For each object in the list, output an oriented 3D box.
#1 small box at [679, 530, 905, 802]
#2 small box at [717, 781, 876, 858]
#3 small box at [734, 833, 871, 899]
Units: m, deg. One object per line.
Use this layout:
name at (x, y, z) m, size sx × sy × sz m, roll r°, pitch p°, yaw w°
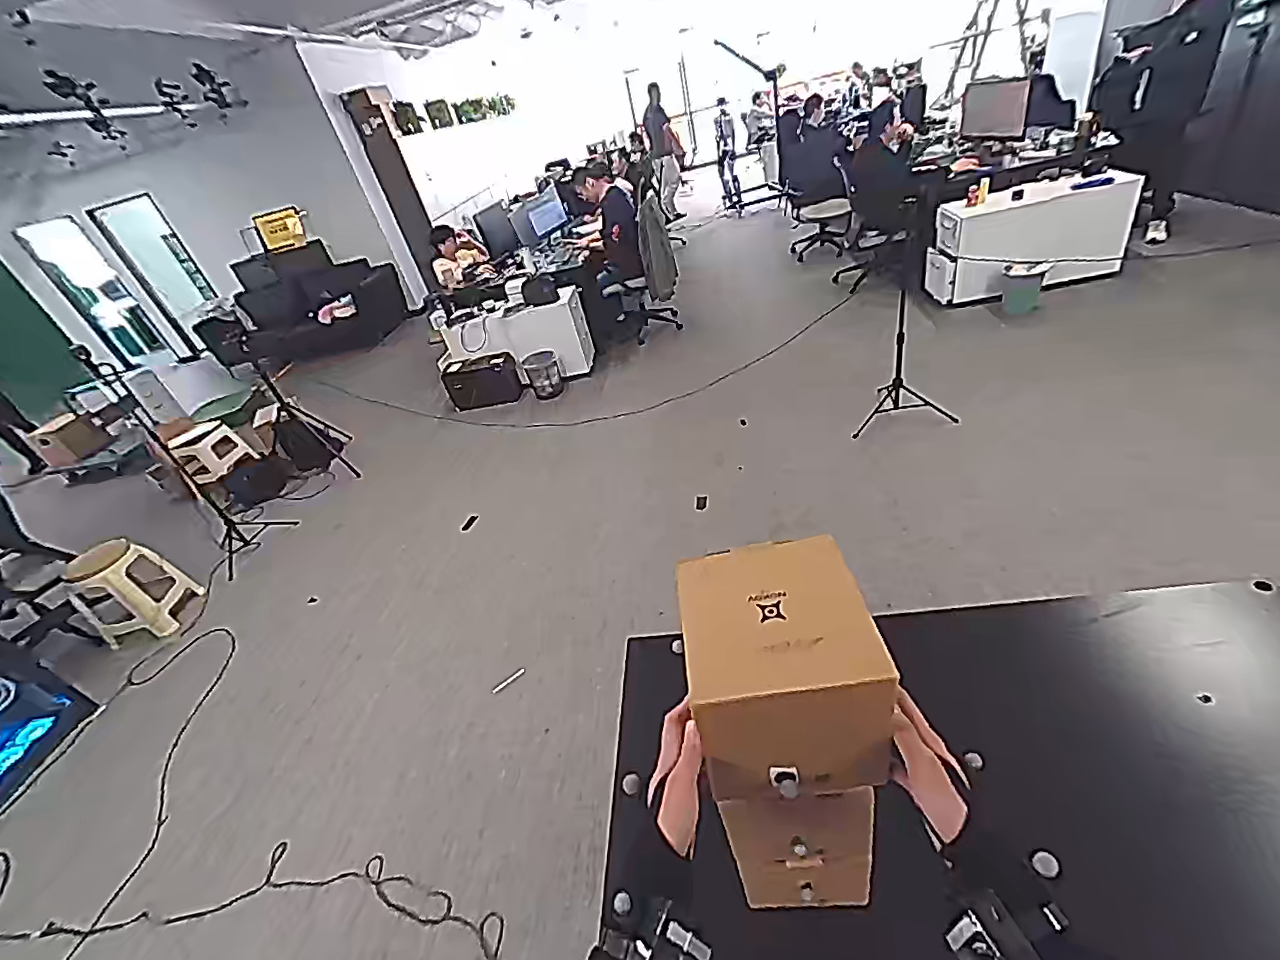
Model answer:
small box at (0.136, 0.178, 0.529) m, size 0.168 × 0.176 × 0.179 m, roll -11°, pitch 34°, yaw 5°
small box at (0.186, 0.343, 0.681) m, size 0.168 × 0.176 × 0.179 m, roll -9°, pitch 35°, yaw 10°
small box at (0.222, 0.475, 0.774) m, size 0.168 × 0.176 × 0.179 m, roll -9°, pitch 36°, yaw 9°
